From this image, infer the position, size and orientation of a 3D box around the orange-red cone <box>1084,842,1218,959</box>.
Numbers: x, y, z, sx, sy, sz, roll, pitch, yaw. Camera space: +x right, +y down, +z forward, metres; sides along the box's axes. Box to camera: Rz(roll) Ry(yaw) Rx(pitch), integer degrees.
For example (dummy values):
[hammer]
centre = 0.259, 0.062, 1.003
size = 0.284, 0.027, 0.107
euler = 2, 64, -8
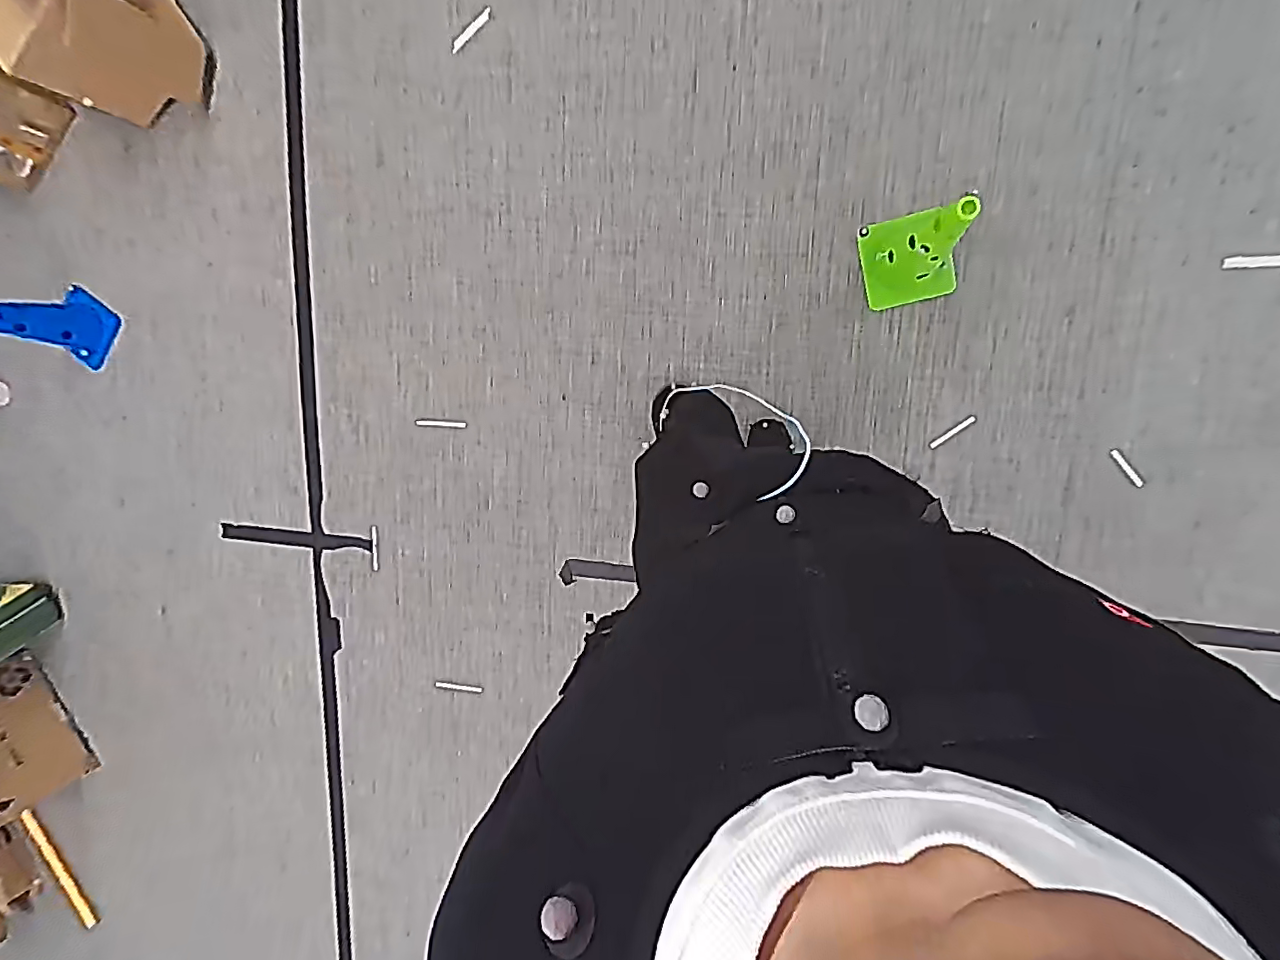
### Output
[orange-red cone]
centre = 1.241, 1.062, 1.226
size = 0.199, 0.360, 0.198
euler = 11, 99, 9

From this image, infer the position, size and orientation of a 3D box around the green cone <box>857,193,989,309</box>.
[green cone]
centre = 0.607, -0.499, 1.116
size = 0.202, 0.368, 0.200
euler = -12, 96, 10
